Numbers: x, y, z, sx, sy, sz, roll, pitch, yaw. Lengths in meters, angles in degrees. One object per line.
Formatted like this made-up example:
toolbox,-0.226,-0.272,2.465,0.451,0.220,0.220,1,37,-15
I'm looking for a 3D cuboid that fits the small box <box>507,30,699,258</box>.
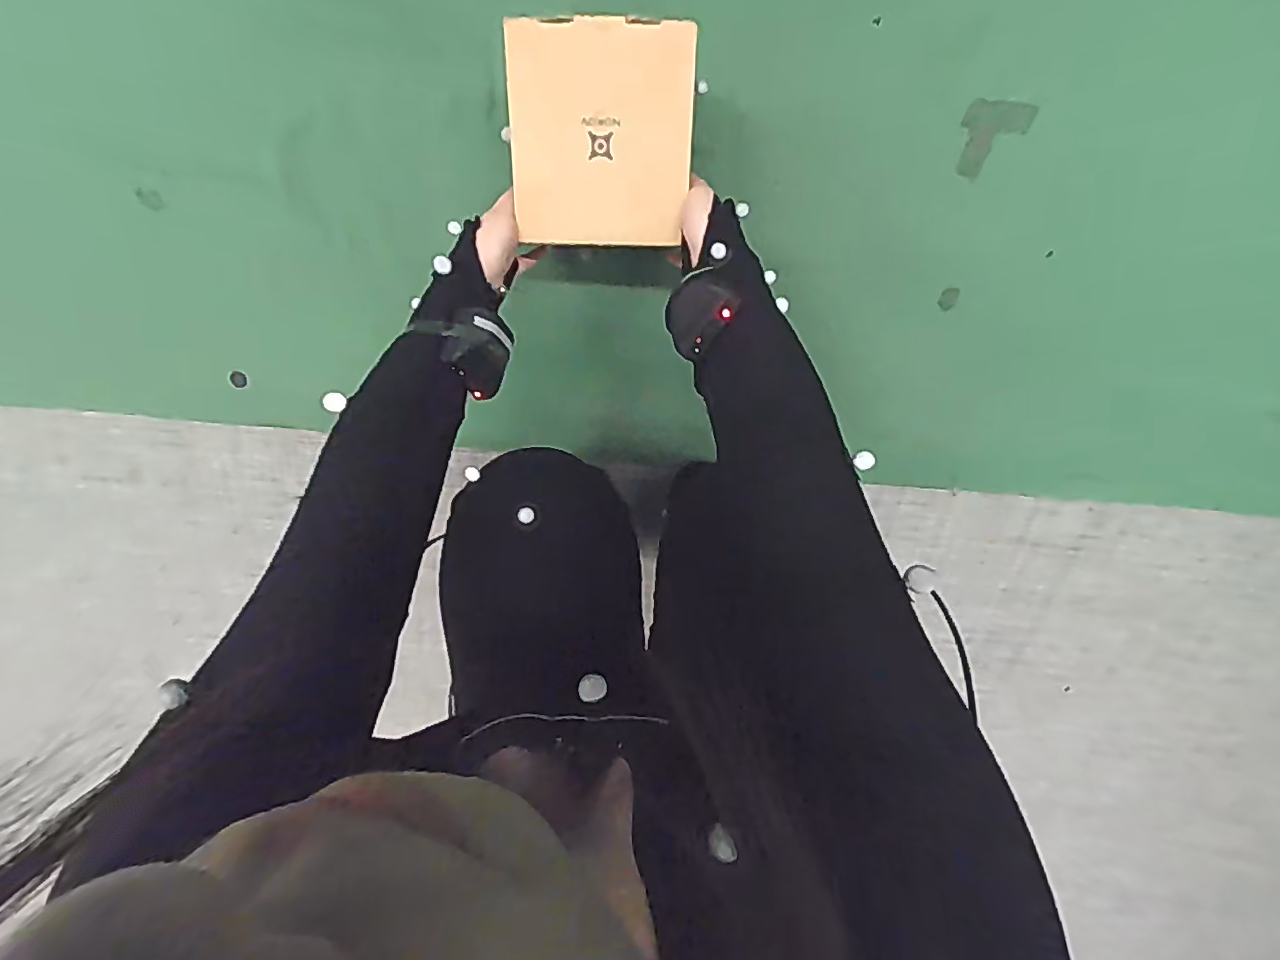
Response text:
small box,-0.030,-0.327,0.559,0.168,0.176,0.179,1,112,1
